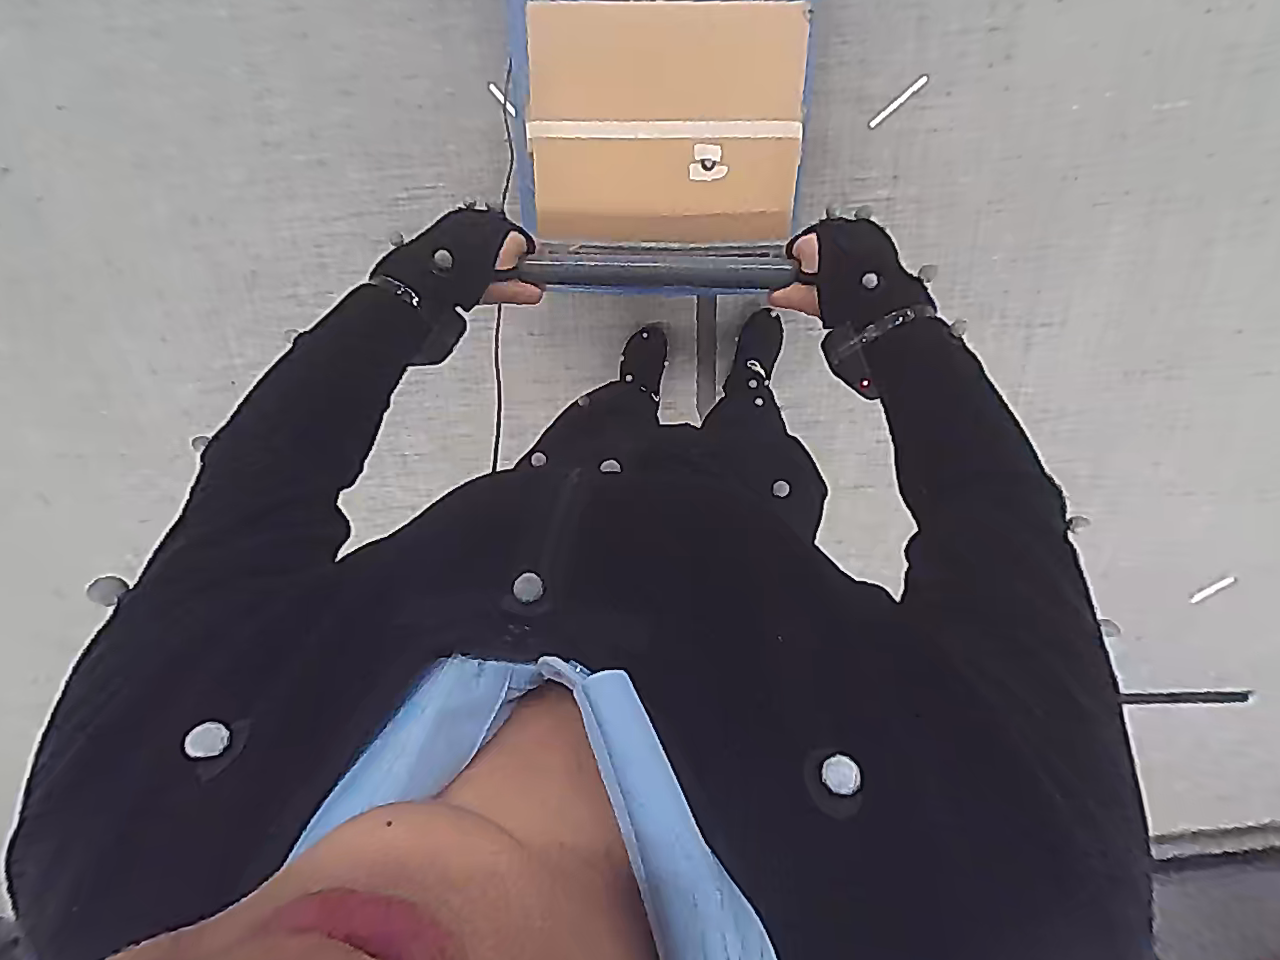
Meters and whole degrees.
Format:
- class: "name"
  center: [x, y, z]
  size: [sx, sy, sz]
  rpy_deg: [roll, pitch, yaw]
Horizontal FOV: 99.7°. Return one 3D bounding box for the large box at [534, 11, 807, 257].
- class: "large box"
  center: [0.045, -0.578, 0.969]
  size: [0.408, 0.320, 0.320]
  rpy_deg: [0, 111, 1]
